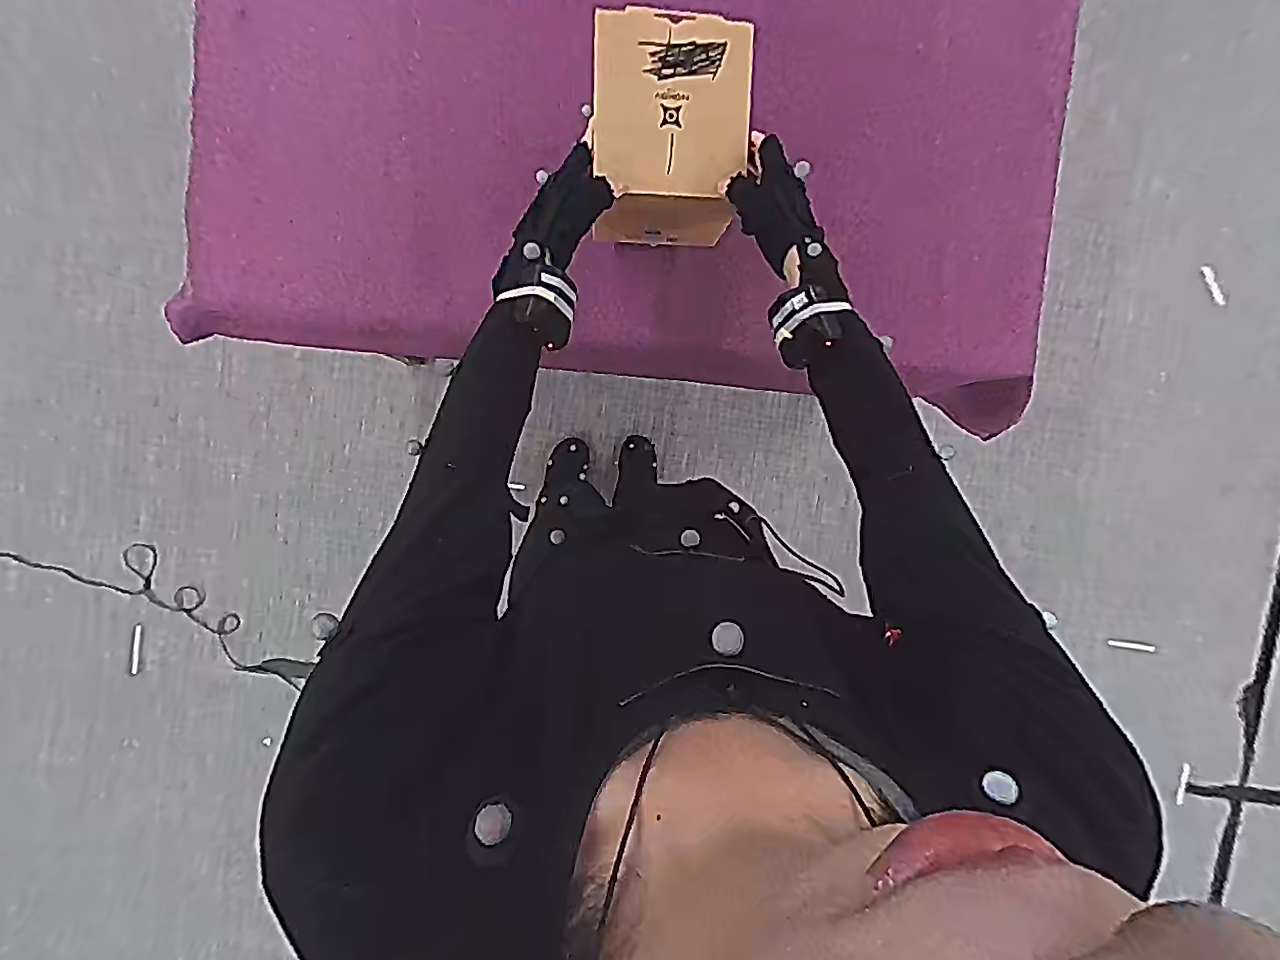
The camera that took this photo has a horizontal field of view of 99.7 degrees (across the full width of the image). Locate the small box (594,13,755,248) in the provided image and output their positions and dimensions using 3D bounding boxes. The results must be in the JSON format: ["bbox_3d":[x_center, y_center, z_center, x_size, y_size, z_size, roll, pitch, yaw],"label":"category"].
[{"bbox_3d":[0.031,-0.395,0.642,0.168,0.176,0.179,1,97,-3],"label":"small box"}]
